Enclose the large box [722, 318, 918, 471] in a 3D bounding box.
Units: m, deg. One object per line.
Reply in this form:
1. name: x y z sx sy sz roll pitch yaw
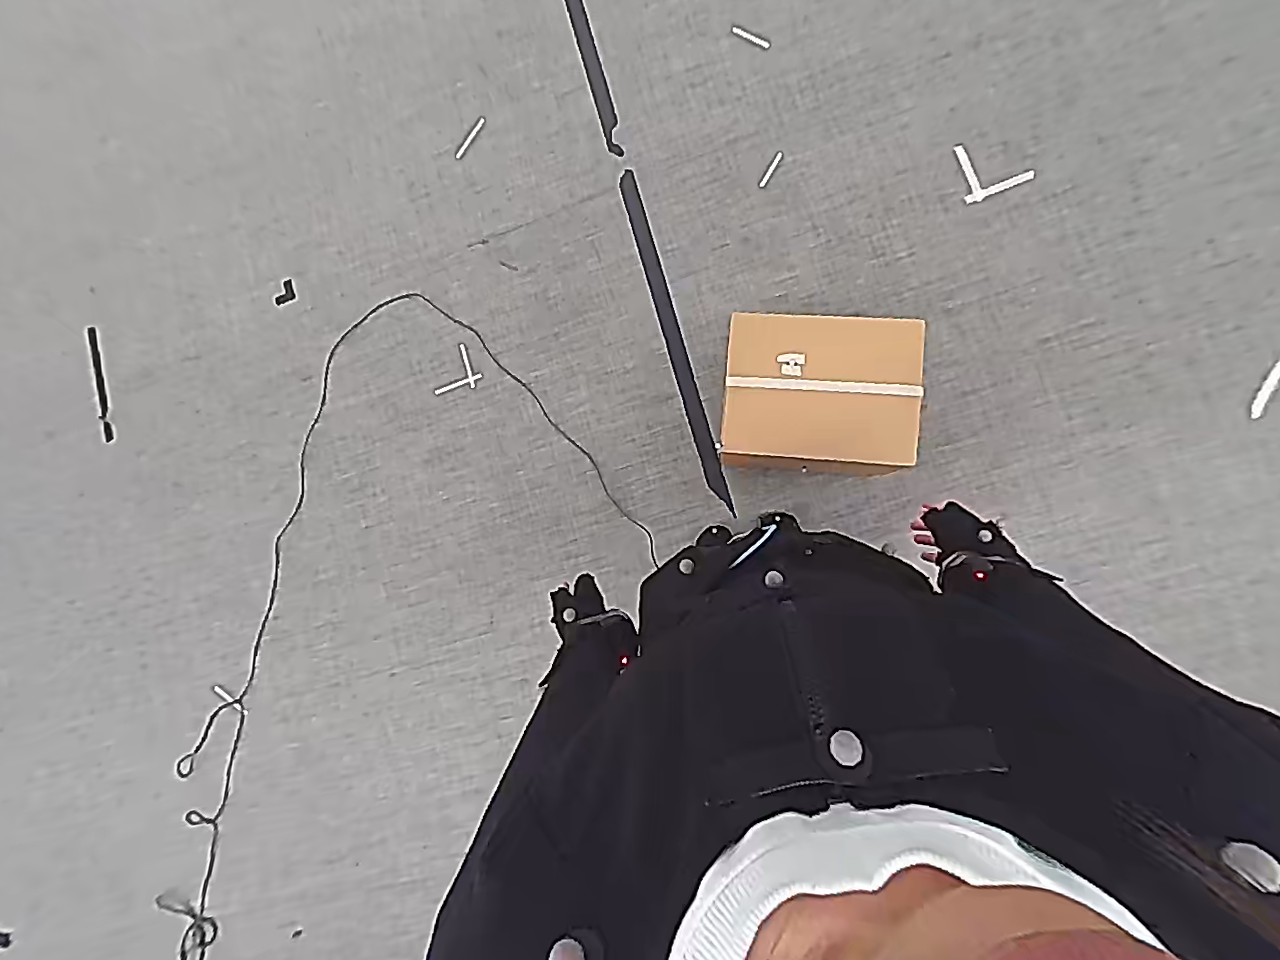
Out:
1. large box: 0.414 -0.192 1.318 0.408 0.320 0.320 4 86 10
